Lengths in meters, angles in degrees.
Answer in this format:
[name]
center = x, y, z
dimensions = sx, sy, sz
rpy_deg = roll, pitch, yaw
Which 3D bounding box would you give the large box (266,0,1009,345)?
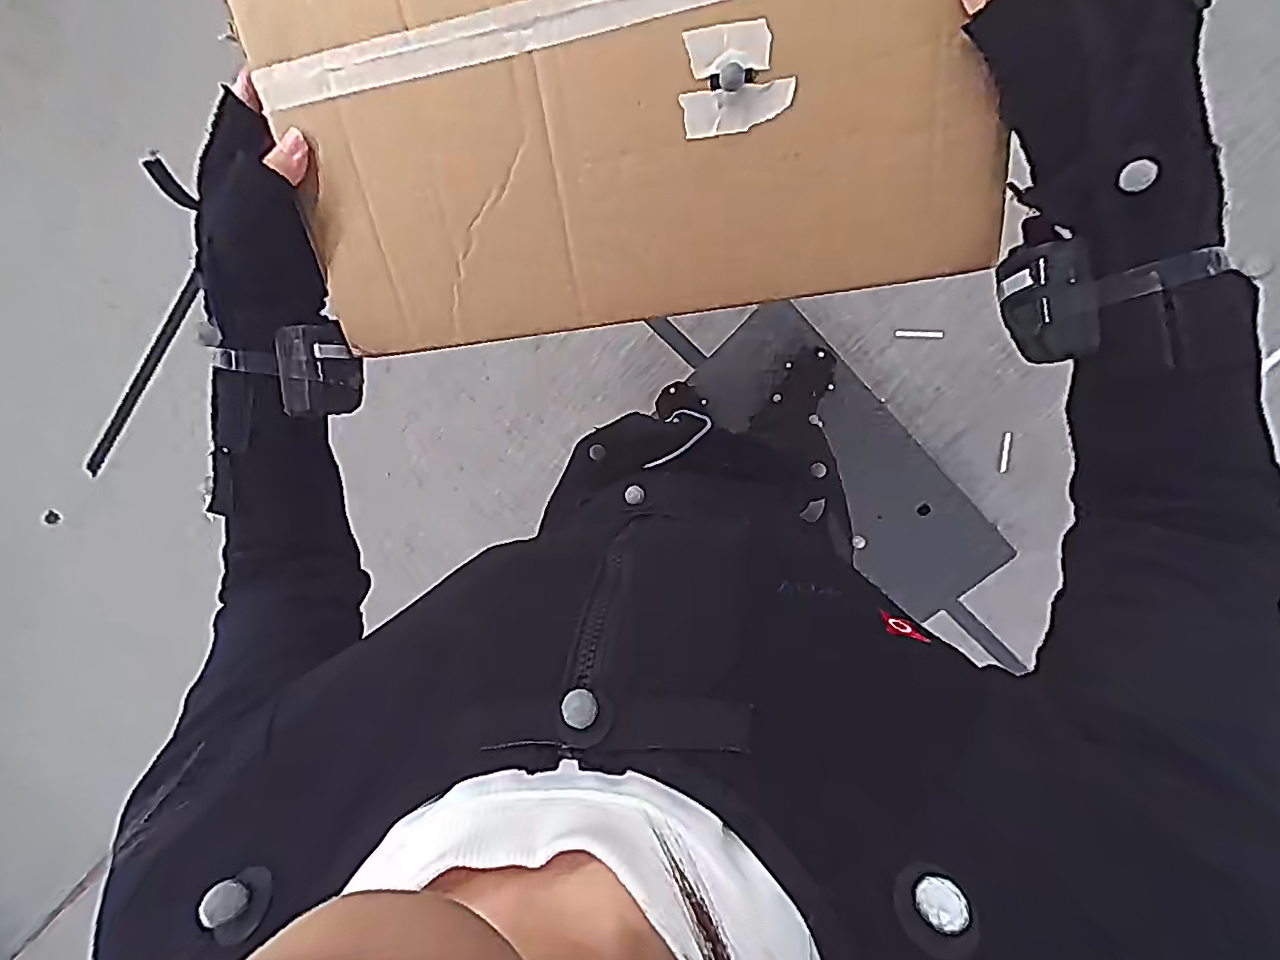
[large box]
center = 0.002, -0.311, 0.427
dimensions = 0.408, 0.320, 0.320
rpy_deg = -5, 113, 9

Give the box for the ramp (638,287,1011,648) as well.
[ramp]
center = 0.515, 0.017, 1.460
dimensions = 0.991, 0.206, 0.509
rpy_deg = 43, 104, -2
